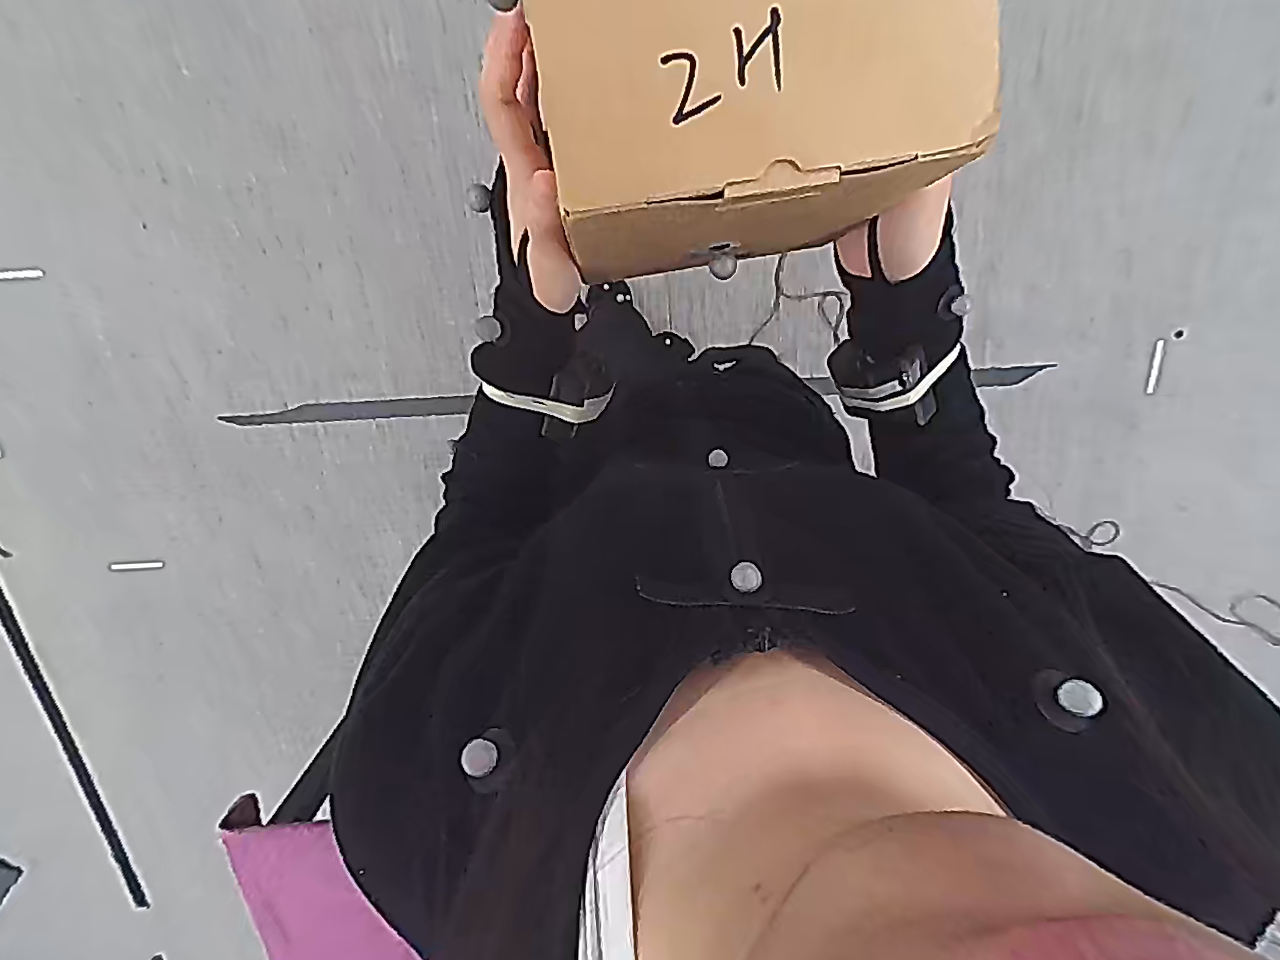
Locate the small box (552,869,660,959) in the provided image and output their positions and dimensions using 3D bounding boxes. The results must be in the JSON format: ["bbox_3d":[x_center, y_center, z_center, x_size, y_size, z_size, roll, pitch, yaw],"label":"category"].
[{"bbox_3d":[-0.051,0.789,0.894,0.168,0.176,0.179,-2,107,-2],"label":"small box"}]

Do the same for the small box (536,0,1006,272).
[{"bbox_3d":[0.036,-0.215,0.259,0.168,0.176,0.179,-10,102,-1],"label":"small box"}]
